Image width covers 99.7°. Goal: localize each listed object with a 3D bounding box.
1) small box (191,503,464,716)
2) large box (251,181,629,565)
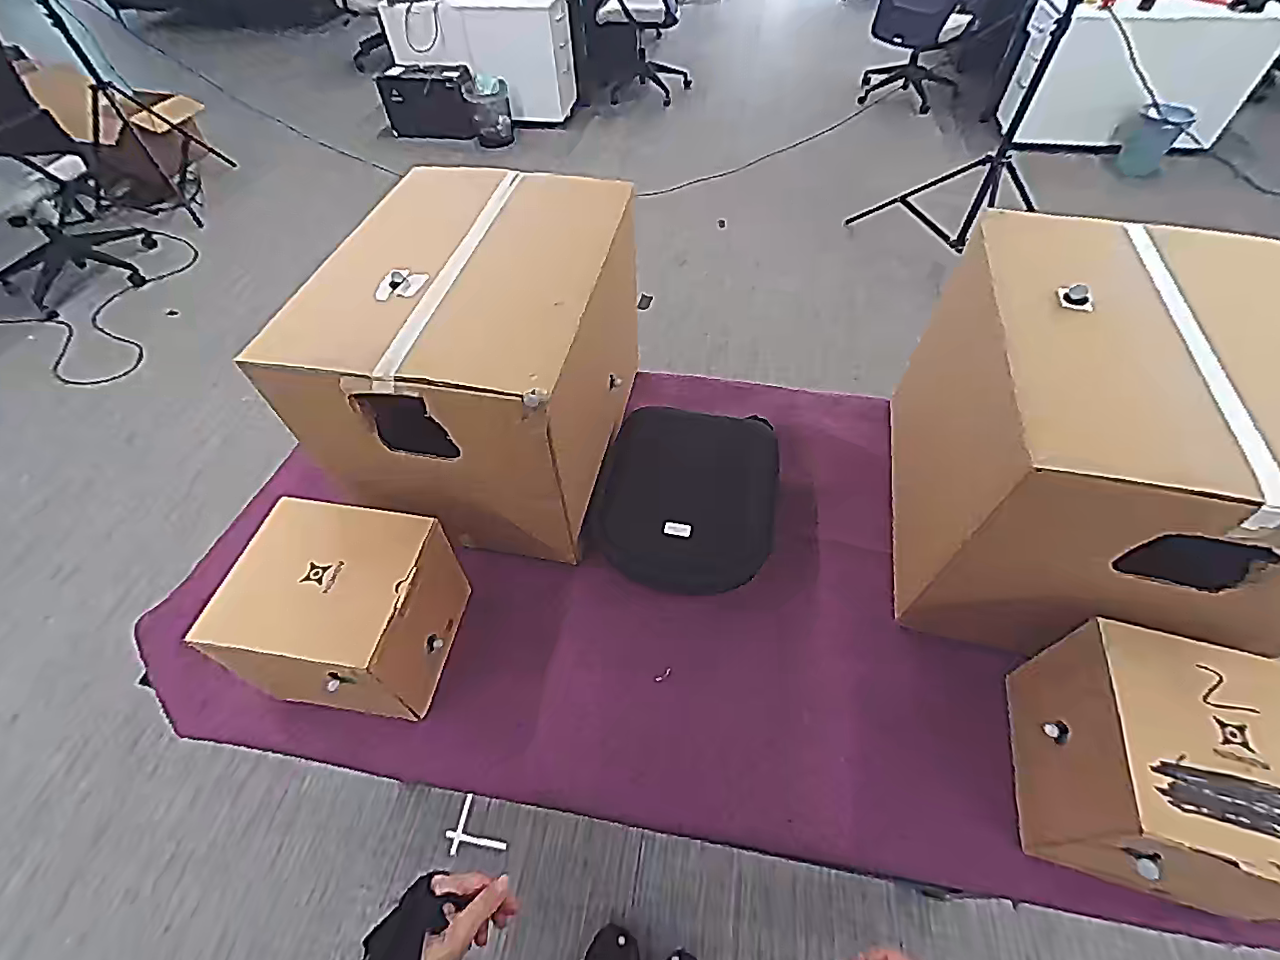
[{"bbox_3d":[-0.320,0.148,0.600,0.179,0.176,0.168,7,52,3],"label":"small box"},{"bbox_3d":[-0.197,-0.147,0.740,0.320,0.320,0.408,7,56,7],"label":"large box"}]
